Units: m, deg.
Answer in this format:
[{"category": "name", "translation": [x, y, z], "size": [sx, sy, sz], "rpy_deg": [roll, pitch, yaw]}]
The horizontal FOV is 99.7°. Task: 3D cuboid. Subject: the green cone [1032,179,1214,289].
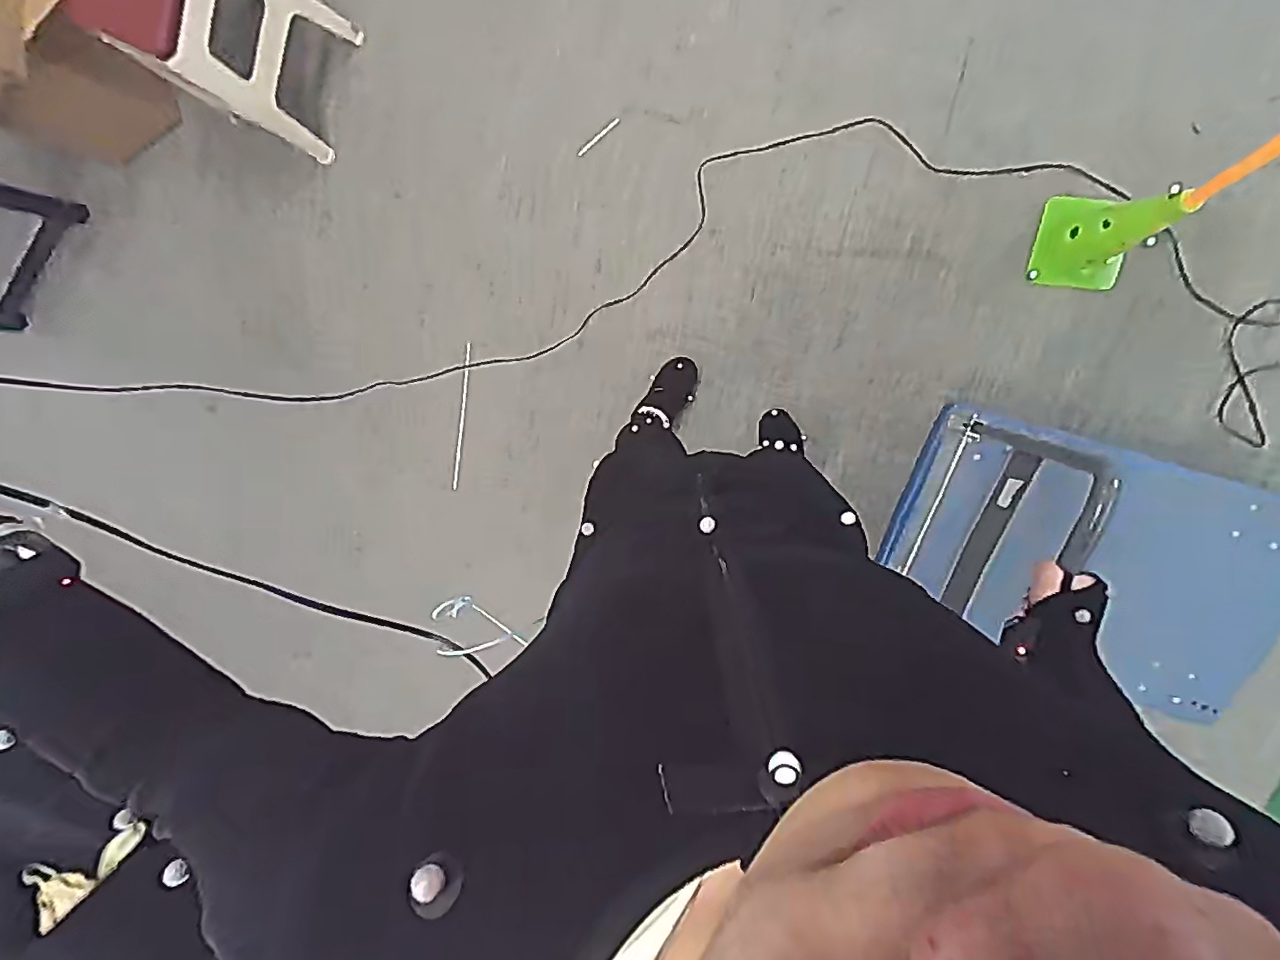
[{"category": "green cone", "translation": [1.037, -0.540, 1.133], "size": [0.200, 0.368, 0.202], "rpy_deg": [10, 102, 10]}]
